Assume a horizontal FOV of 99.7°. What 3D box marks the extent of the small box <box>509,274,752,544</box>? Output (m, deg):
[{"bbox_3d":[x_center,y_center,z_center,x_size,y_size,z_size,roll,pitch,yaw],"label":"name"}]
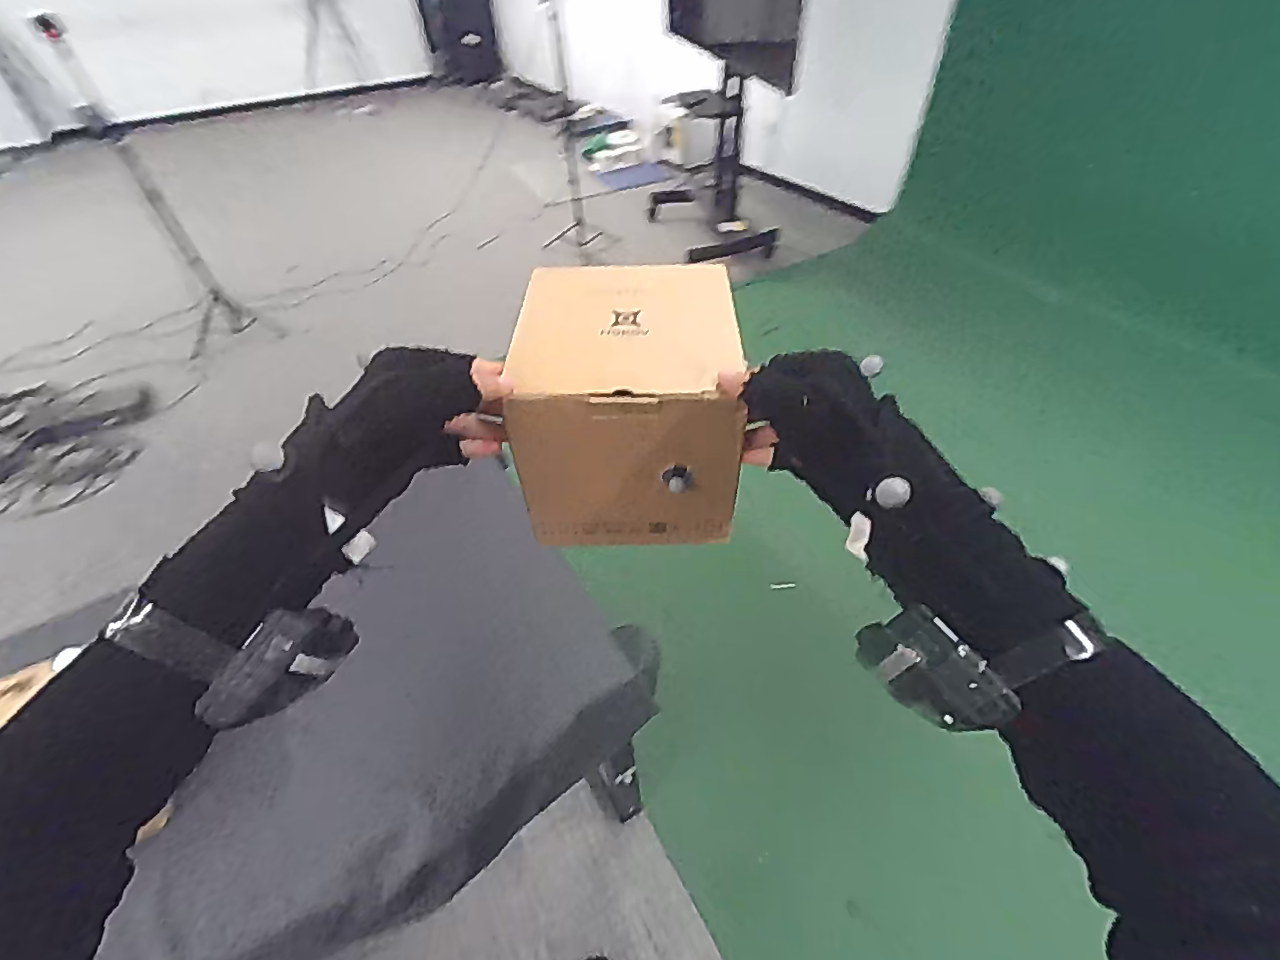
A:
[{"bbox_3d":[-0.002,-0.058,0.469,0.168,0.176,0.179,0,47,1],"label":"small box"}]
